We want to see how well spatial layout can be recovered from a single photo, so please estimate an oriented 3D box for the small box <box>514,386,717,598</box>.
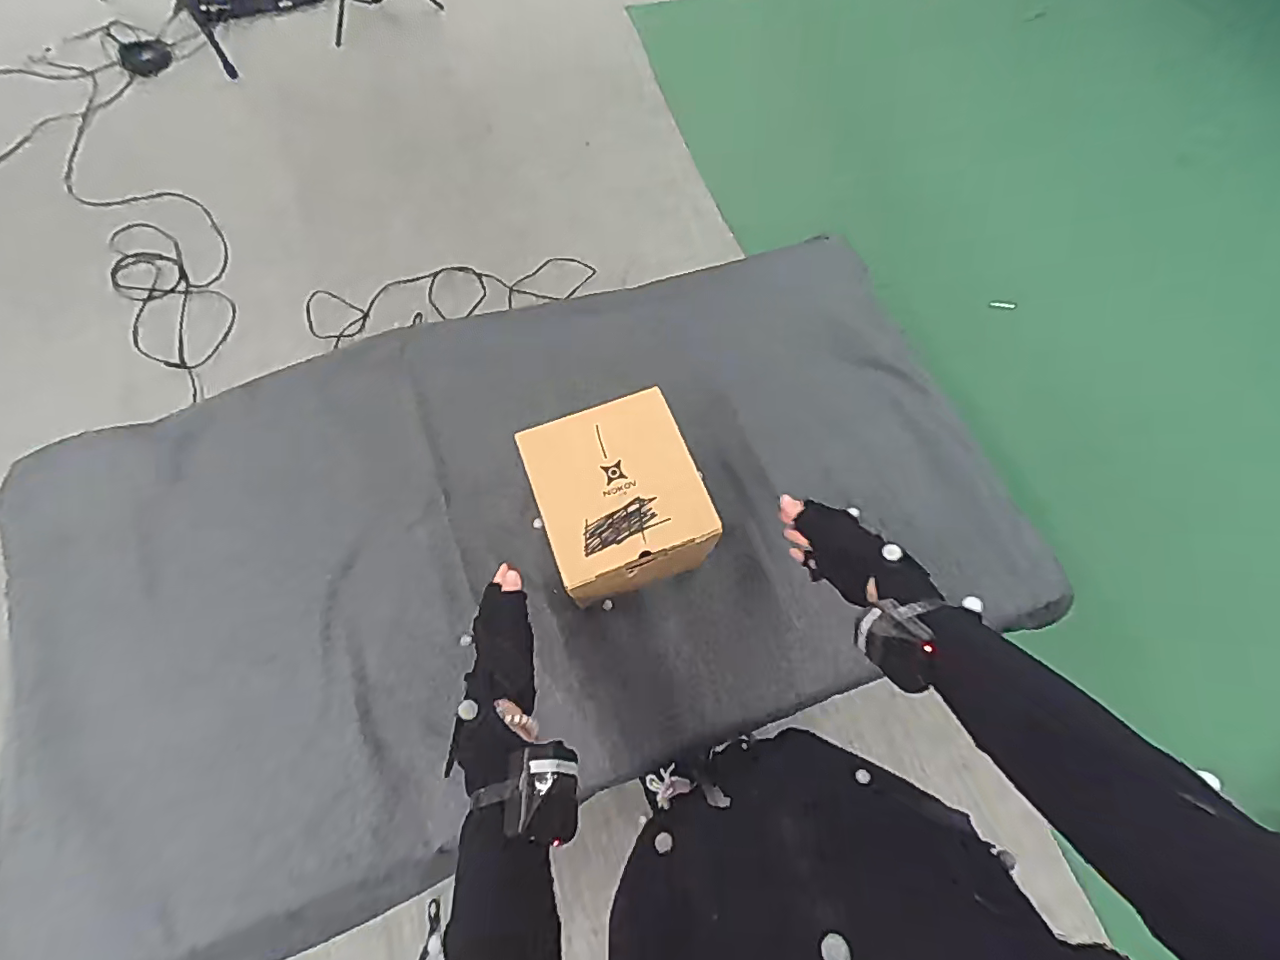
[{"bbox_3d":[-0.026,0.026,0.622,0.168,0.176,0.179,-20,71,-7],"label":"small box"}]
